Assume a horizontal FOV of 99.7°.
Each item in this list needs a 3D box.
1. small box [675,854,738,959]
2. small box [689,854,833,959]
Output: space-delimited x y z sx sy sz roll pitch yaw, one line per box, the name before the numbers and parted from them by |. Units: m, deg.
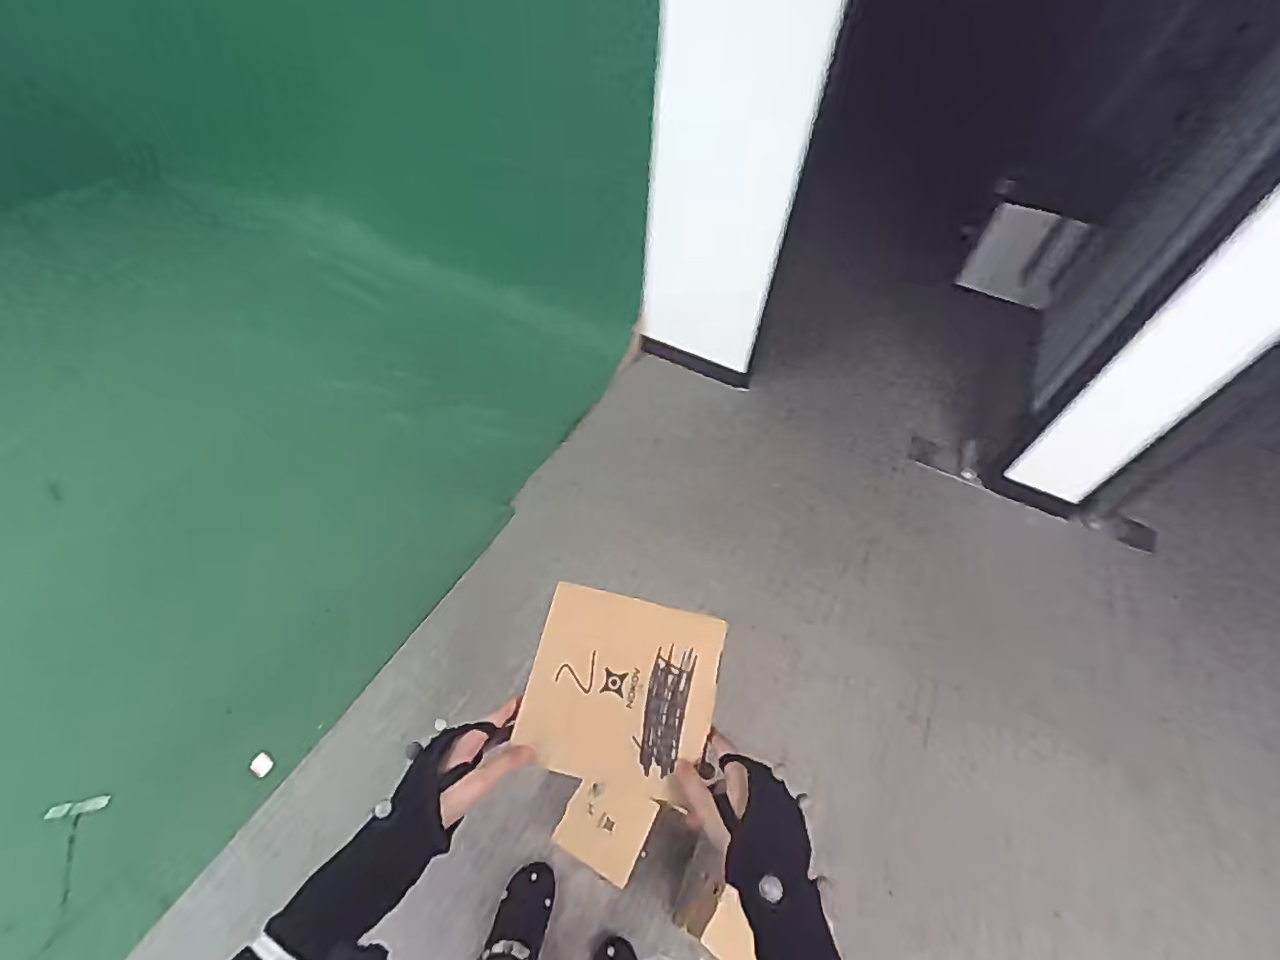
small box | 0.184 0.903 1.096 0.168 0.176 0.179 34 58 21
small box | 0.204 0.812 0.960 0.179 0.176 0.168 34 58 22
